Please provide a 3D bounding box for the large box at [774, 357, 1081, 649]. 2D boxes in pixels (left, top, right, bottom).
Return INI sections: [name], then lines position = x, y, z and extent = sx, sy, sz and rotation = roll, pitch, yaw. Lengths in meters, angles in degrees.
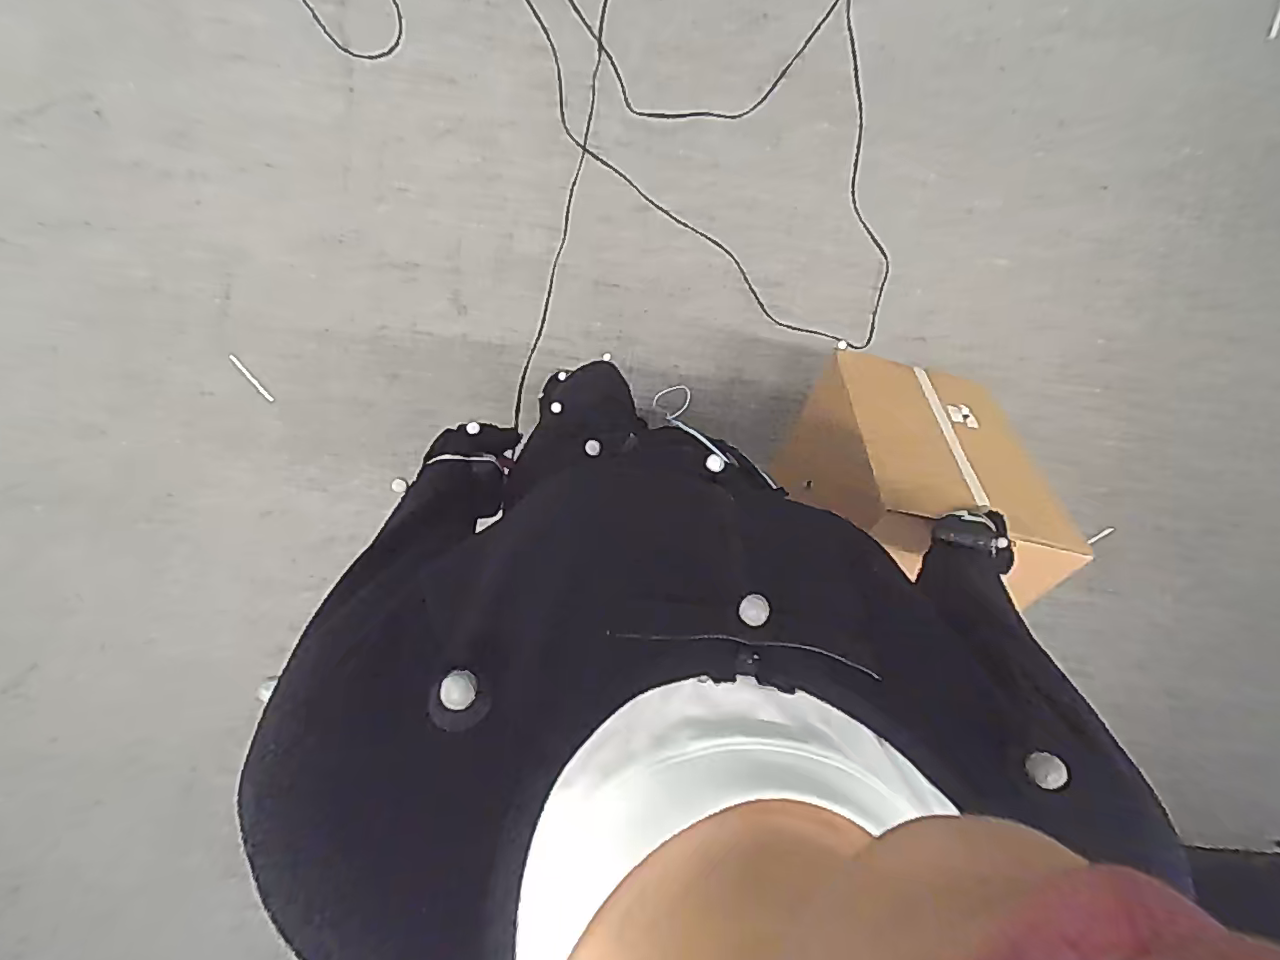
[large box]
position = 0.459, 0.040, 0.986
extent = 0.320, 0.408, 0.320
rotation = 13, 134, -5
